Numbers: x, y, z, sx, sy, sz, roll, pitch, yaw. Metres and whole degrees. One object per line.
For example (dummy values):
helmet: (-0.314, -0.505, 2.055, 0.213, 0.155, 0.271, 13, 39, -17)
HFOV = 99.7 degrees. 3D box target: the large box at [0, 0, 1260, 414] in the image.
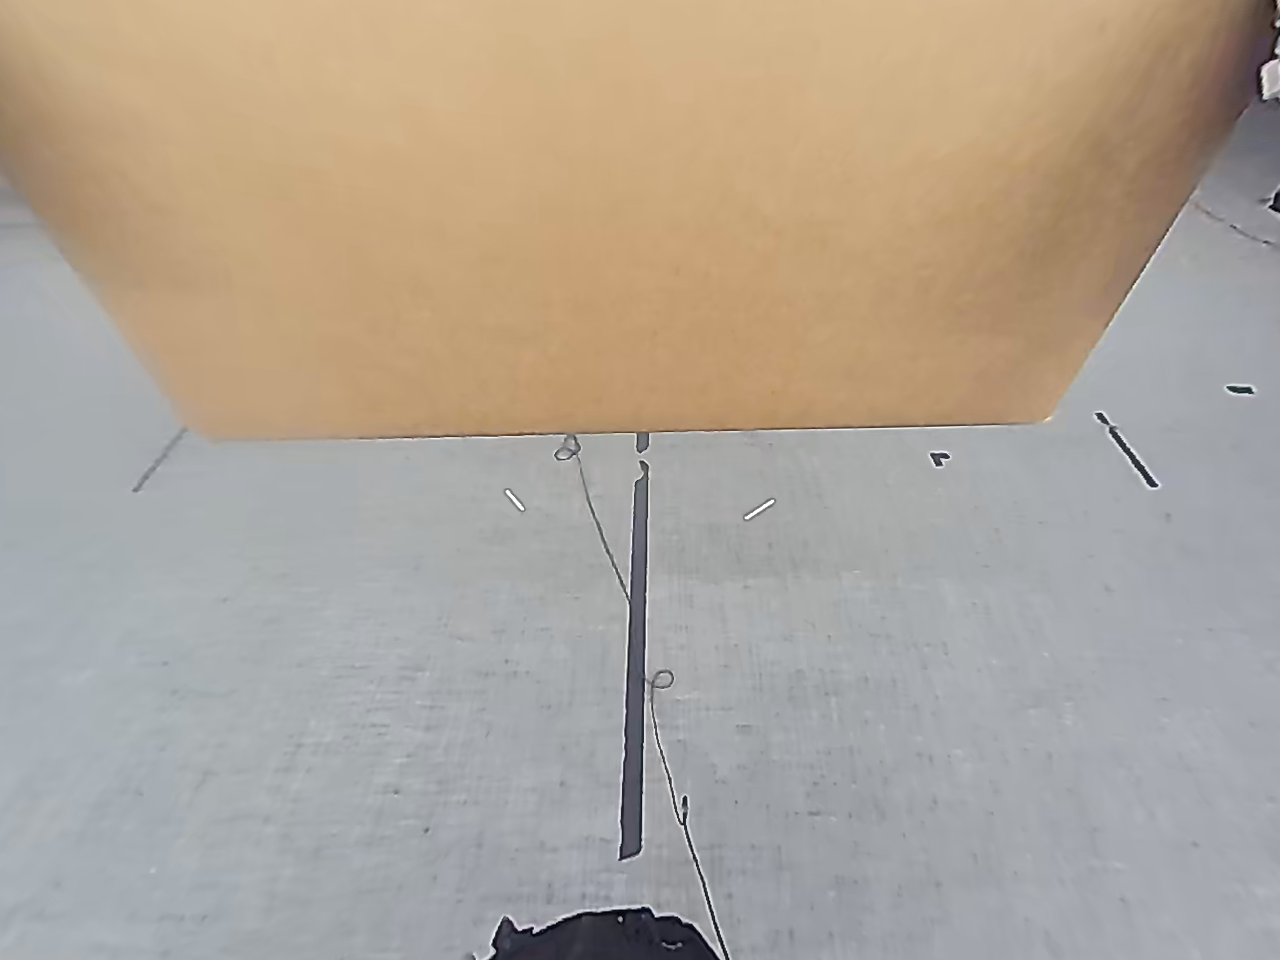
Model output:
large box: (-0.010, -0.244, 0.269, 0.408, 0.320, 0.320, -1, 44, -1)
